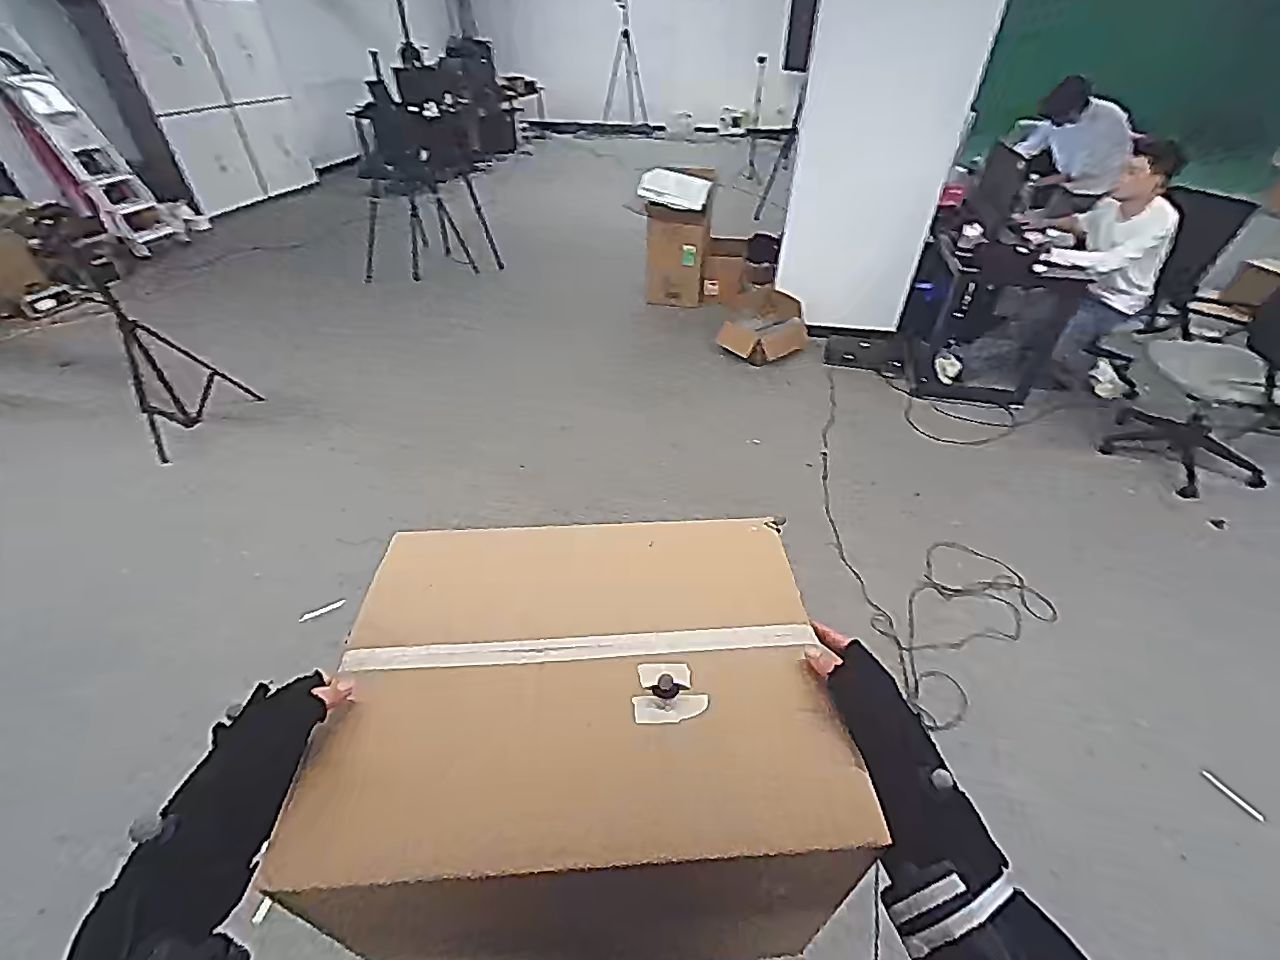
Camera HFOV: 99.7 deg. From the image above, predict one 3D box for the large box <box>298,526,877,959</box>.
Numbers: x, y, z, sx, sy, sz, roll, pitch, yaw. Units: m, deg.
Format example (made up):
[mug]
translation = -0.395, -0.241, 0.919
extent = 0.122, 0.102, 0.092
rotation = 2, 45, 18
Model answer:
[large box]
translation = -0.042, 0.269, 0.572
extent = 0.408, 0.320, 0.320
rotation = -1, 39, -3
